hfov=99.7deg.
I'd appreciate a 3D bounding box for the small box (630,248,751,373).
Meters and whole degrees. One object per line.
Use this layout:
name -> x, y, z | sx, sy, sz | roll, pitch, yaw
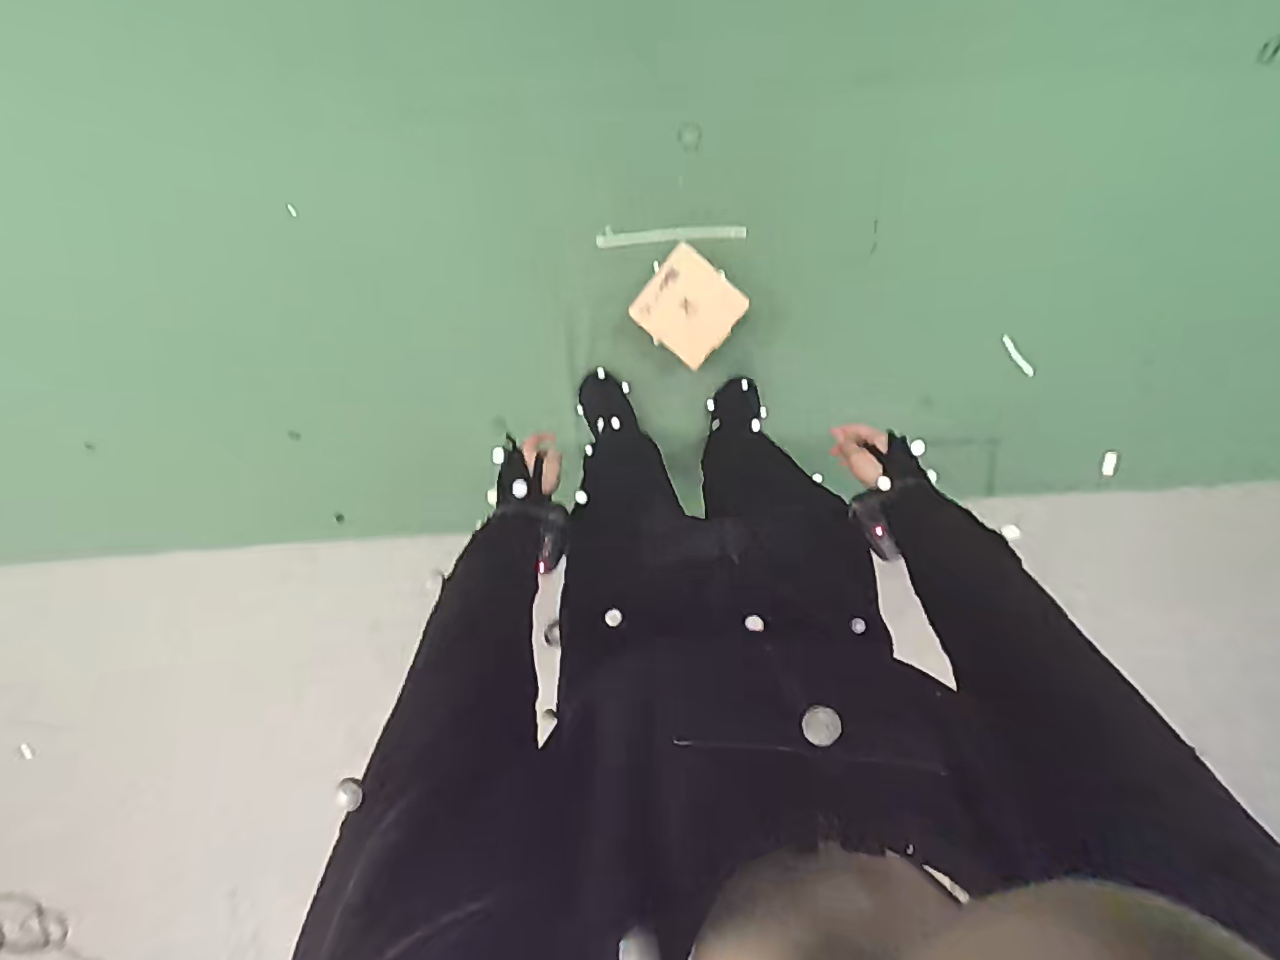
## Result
small box -> 0.097, -0.347, 1.105 | 0.179, 0.176, 0.168 | 38, 104, -12
